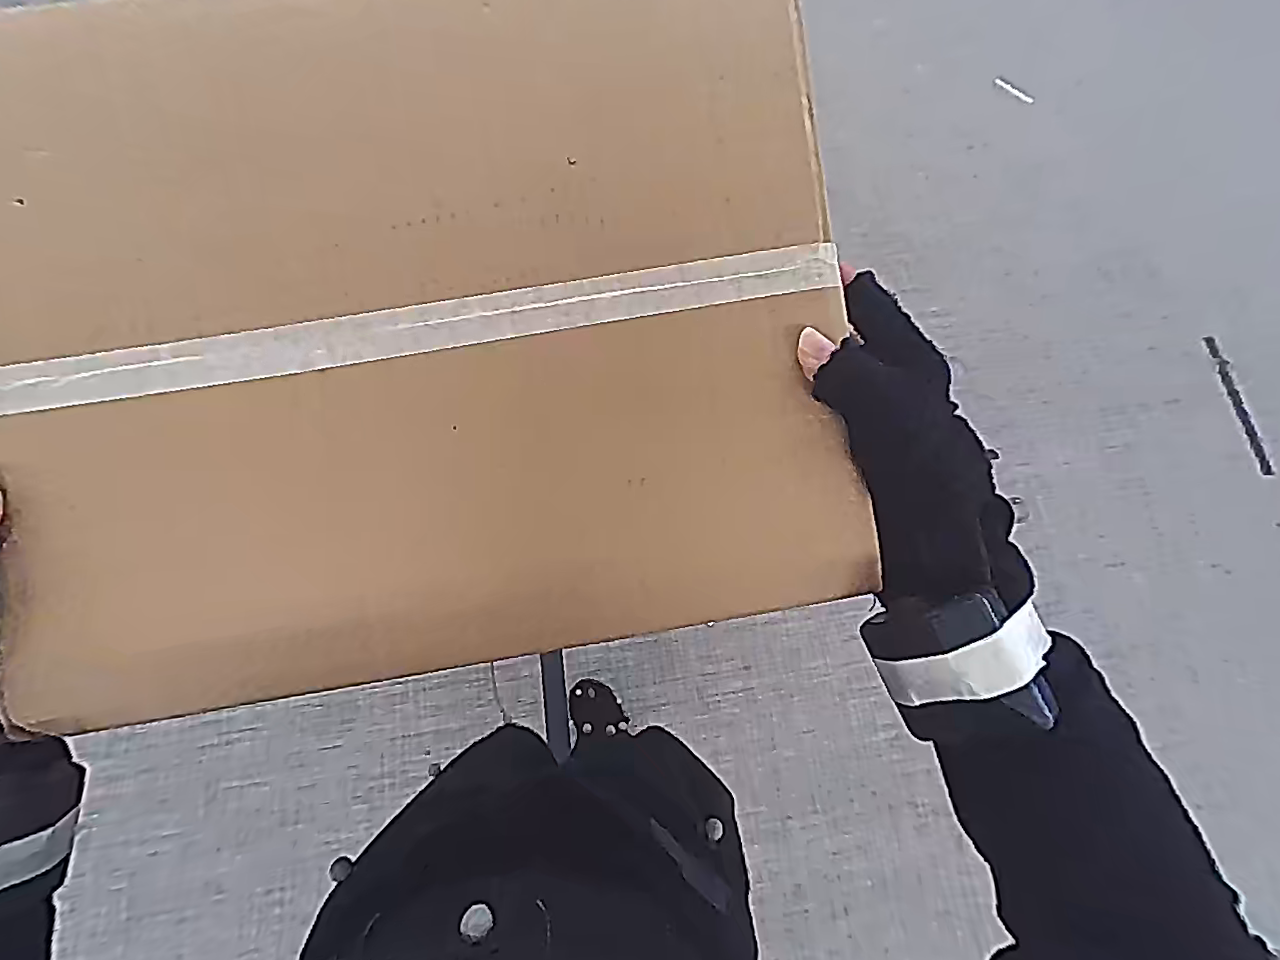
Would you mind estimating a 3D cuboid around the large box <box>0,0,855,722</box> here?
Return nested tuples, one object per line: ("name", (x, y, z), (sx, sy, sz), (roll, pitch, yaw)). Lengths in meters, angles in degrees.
("large box", (-0.114, -0.075, 0.406), (0.408, 0.320, 0.320), (-9, 92, -3))
